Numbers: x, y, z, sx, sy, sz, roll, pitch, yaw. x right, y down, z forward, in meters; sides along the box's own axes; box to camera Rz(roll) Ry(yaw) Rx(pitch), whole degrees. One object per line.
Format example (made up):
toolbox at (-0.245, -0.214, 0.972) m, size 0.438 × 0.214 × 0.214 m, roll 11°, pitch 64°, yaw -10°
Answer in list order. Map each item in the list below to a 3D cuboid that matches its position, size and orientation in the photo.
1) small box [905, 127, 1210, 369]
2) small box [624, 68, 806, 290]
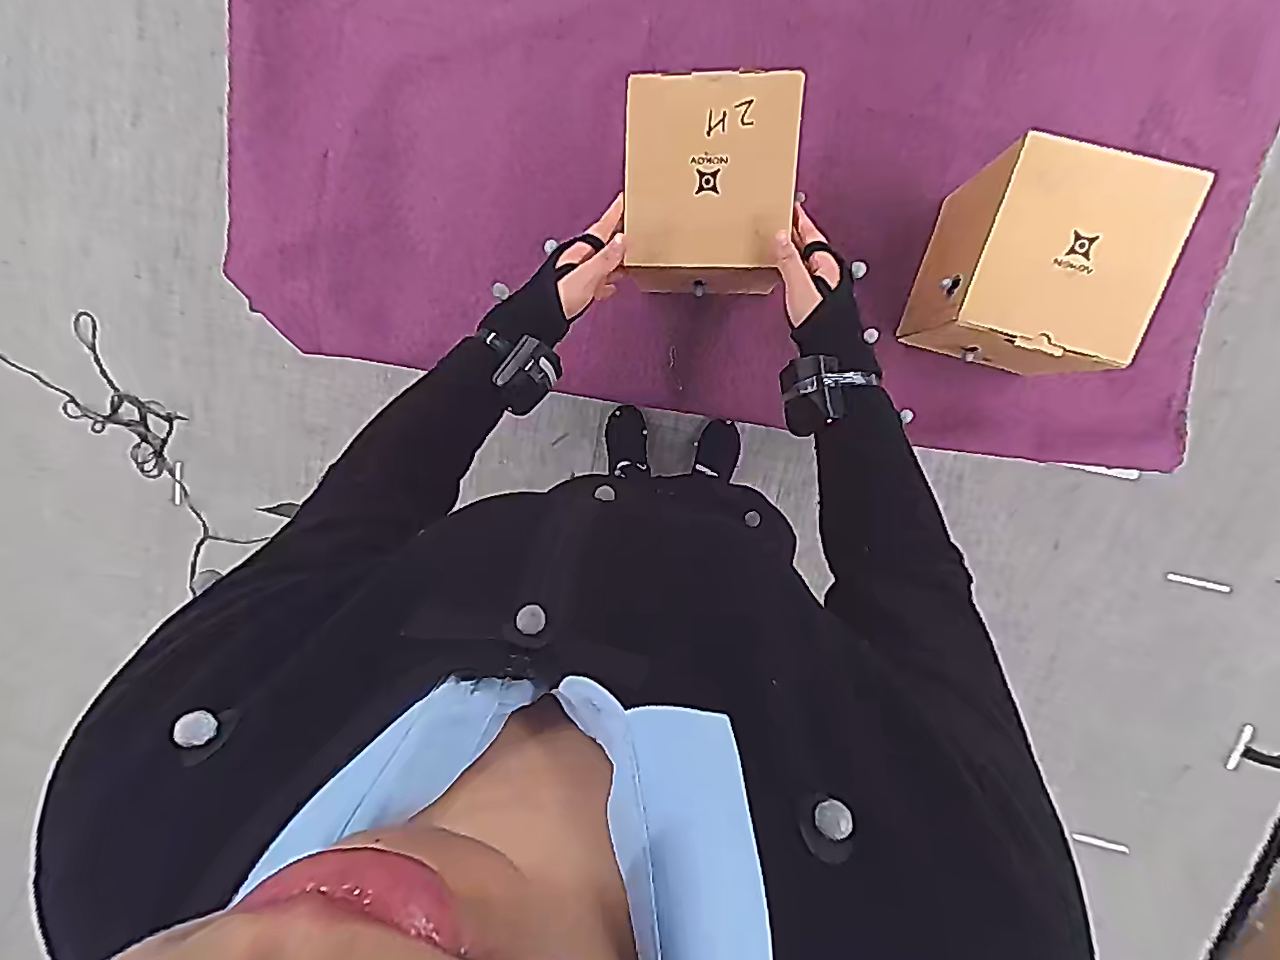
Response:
small box at (0.411, -0.225, 0.573) m, size 0.168 × 0.176 × 0.179 m, roll 17°, pitch 101°, yaw 4°
small box at (0.077, -0.311, 0.596) m, size 0.168 × 0.176 × 0.179 m, roll 3°, pitch 101°, yaw 6°
